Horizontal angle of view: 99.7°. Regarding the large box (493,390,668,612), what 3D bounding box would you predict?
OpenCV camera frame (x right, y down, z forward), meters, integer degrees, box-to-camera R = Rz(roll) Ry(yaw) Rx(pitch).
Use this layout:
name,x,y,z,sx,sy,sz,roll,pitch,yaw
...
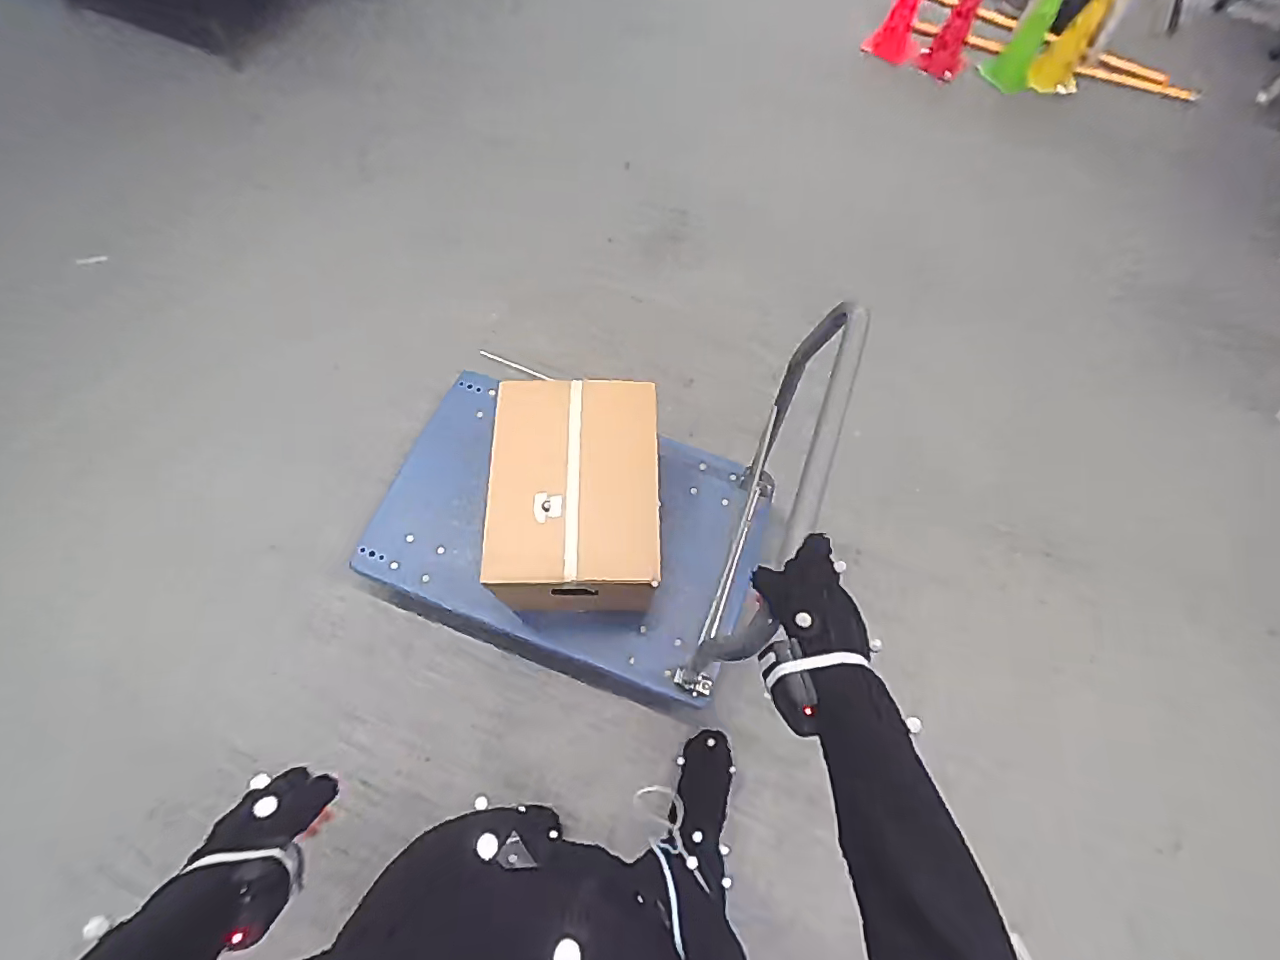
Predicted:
name,x,y,z,sx,sy,sz,roll,pitch,yaw
large box,-0.118,0.057,1.153,0.320,0.320,0.408,-1,68,-2
